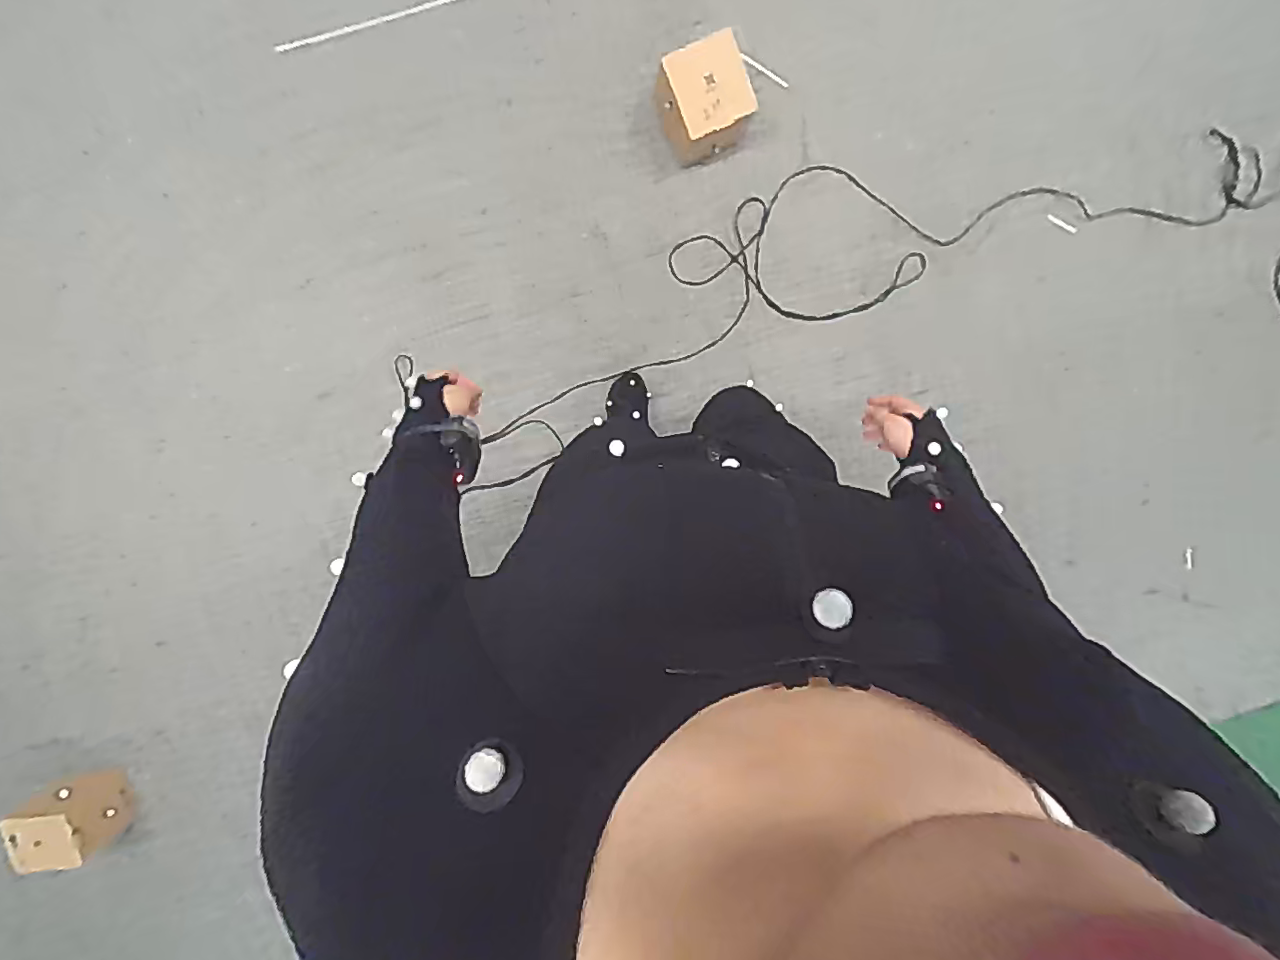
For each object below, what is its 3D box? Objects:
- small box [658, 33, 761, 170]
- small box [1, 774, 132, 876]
[{"bbox_3d":[0.151,-0.855,1.240,0.168,0.176,0.179,-24,102,1],"label":"small box"},{"bbox_3d":[-1.548,0.934,1.477,0.179,0.176,0.168,-4,101,-3],"label":"small box"}]
